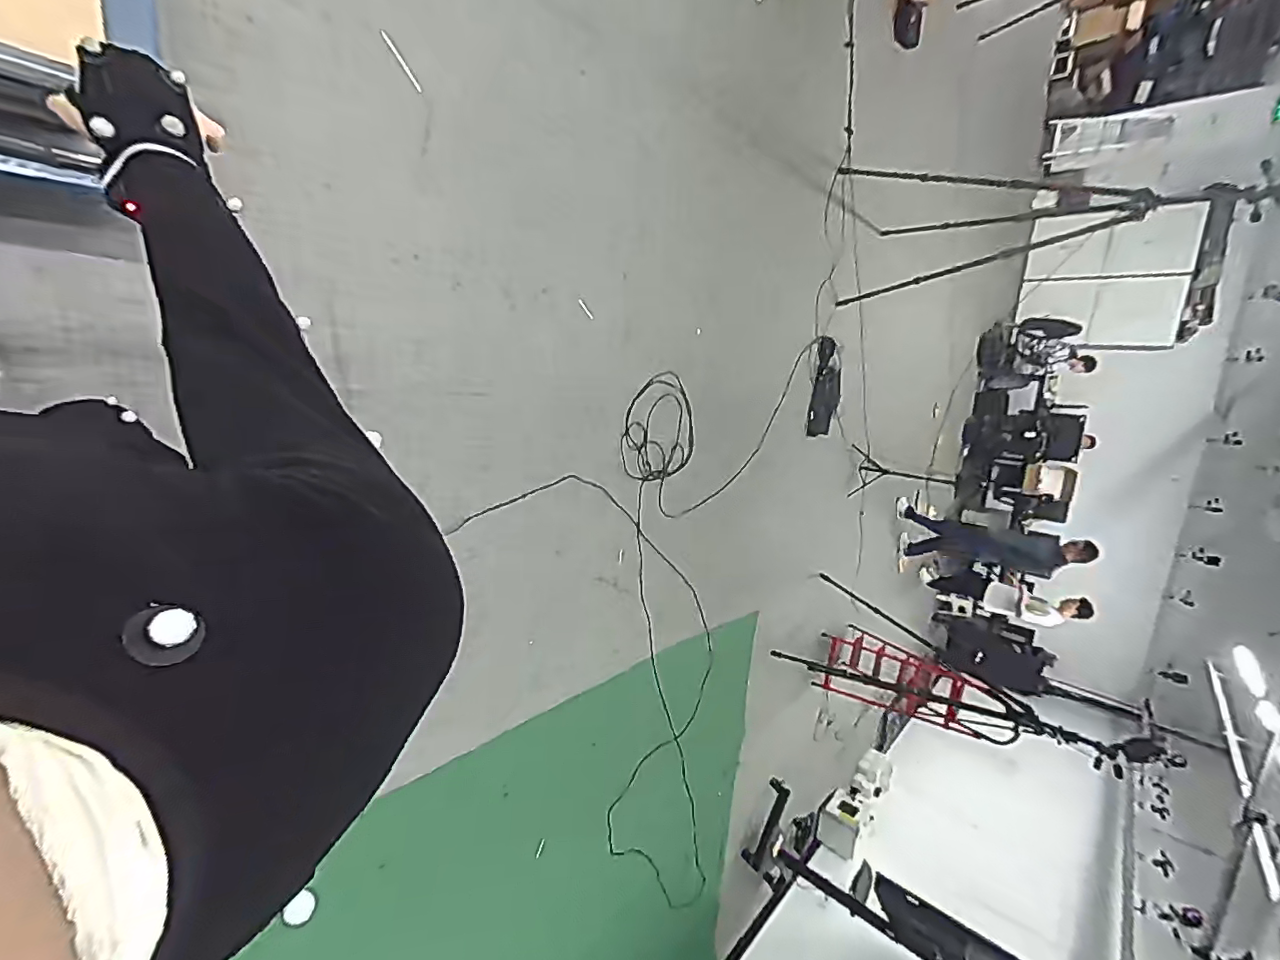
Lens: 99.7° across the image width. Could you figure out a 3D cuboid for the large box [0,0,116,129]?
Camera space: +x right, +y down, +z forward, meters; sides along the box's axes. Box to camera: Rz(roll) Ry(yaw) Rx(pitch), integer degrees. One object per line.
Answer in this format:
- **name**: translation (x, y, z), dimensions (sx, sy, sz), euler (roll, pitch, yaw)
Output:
- **large box**: translation (-0.930, -0.756, 0.697), dimensions (0.320, 0.320, 0.408), euler (-9, 106, -47)
